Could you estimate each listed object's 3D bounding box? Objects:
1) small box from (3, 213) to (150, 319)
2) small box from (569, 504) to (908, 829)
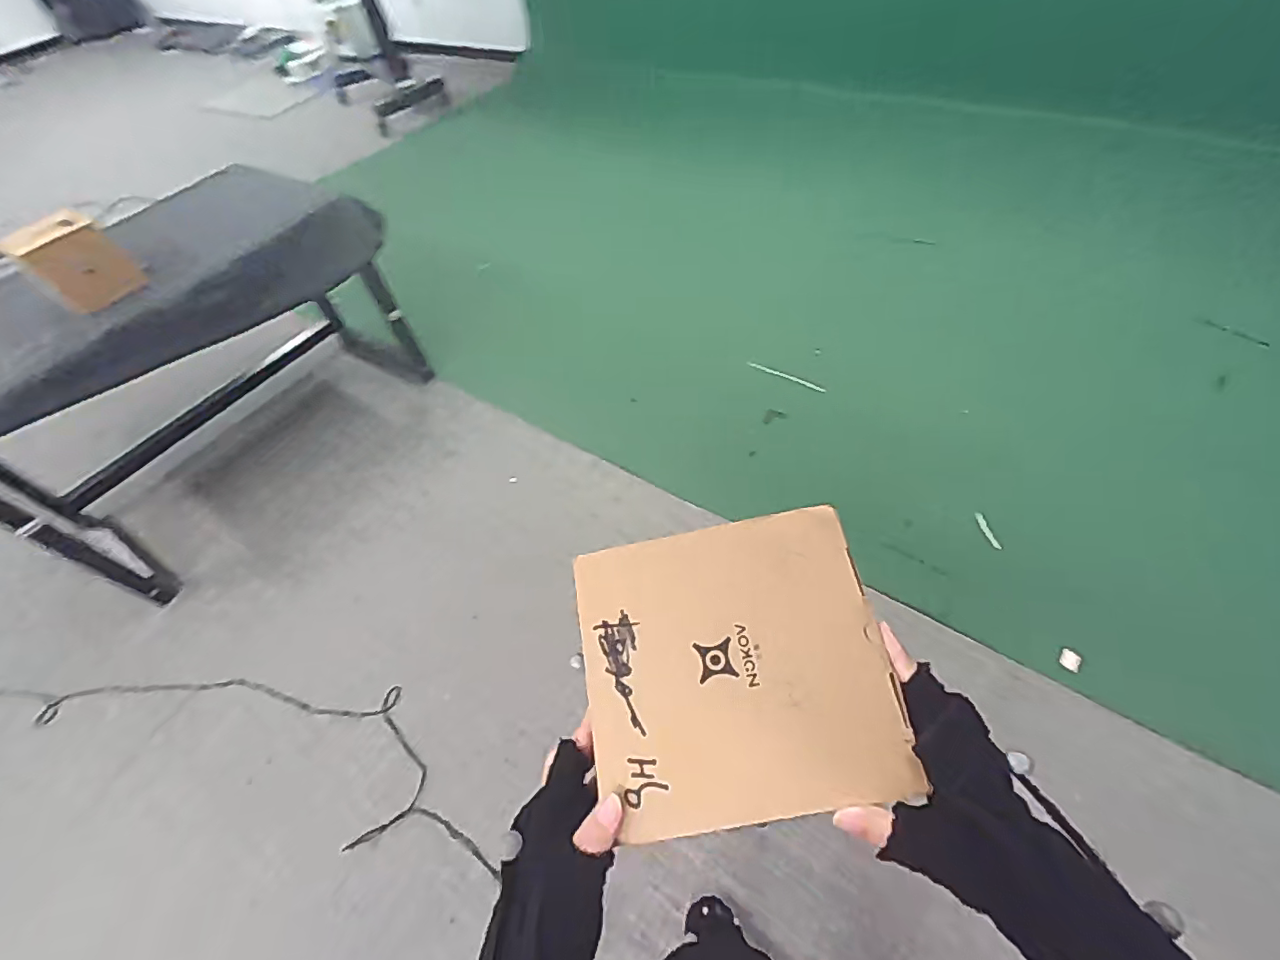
[{"bbox_3d":[-1.394,-0.537,1.357,0.168,0.176,0.179,23,58,23],"label":"small box"},{"bbox_3d":[0.057,0.137,0.398,0.179,0.176,0.168,-12,63,2],"label":"small box"}]
